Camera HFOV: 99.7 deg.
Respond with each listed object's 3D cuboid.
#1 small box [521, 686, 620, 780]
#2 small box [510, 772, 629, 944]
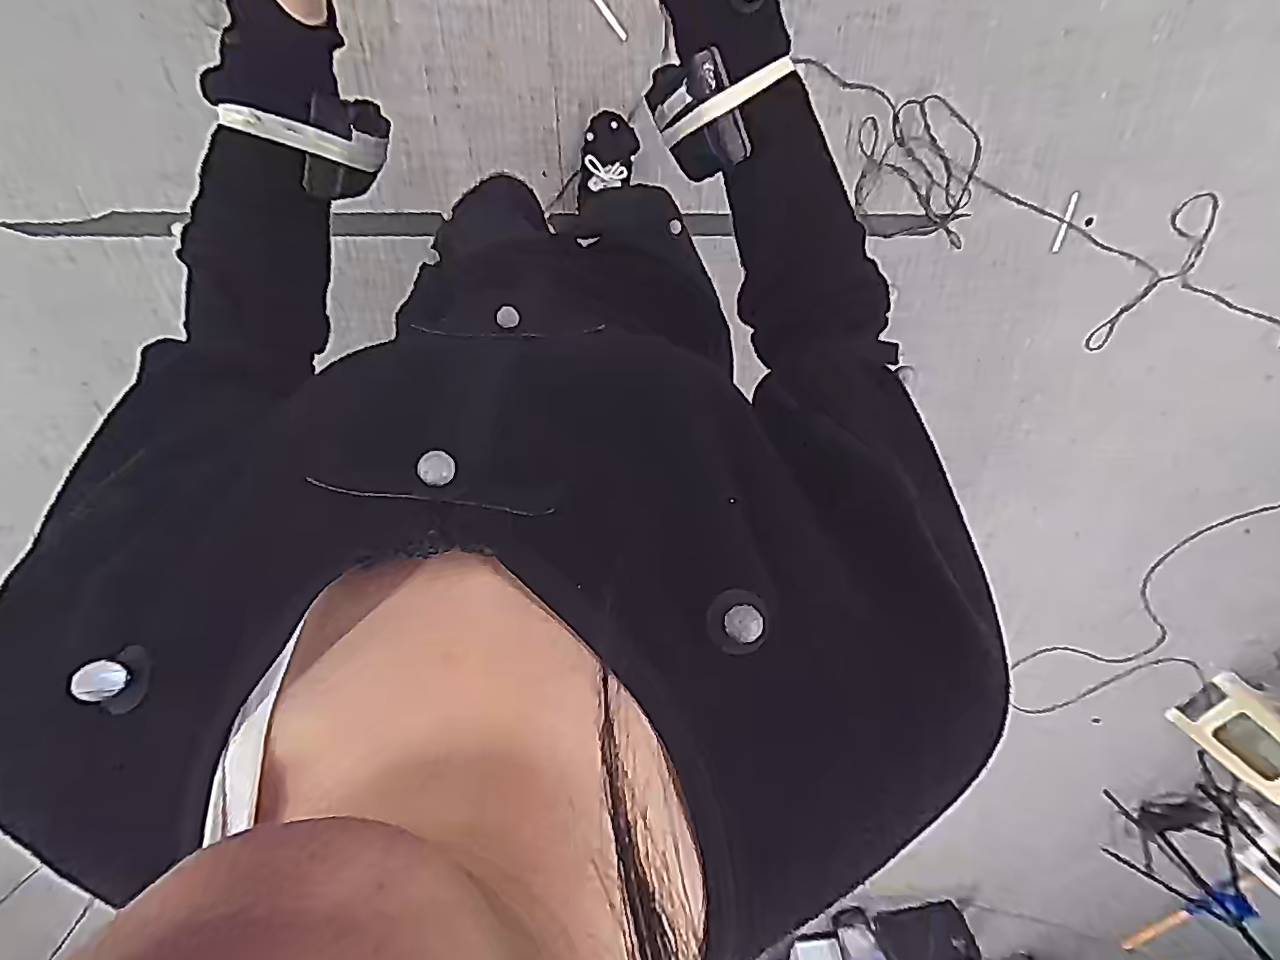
[{"bbox_3d":[-0.125,0.496,0.992,0.168,0.176,0.179,-2,122,-5],"label":"small box"},{"bbox_3d":[-0.107,0.587,0.857,0.168,0.176,0.179,-4,122,-4],"label":"small box"}]
